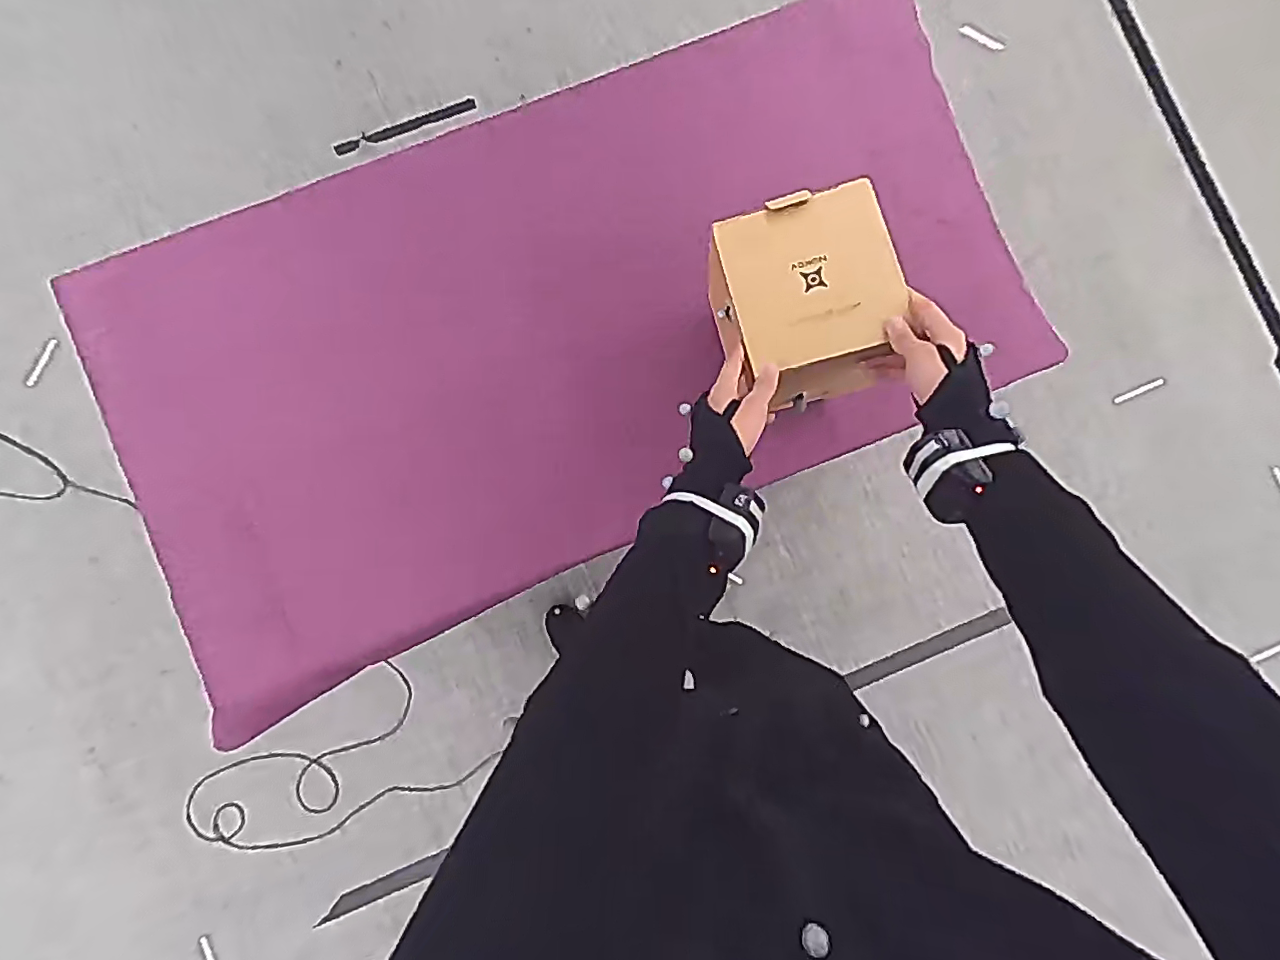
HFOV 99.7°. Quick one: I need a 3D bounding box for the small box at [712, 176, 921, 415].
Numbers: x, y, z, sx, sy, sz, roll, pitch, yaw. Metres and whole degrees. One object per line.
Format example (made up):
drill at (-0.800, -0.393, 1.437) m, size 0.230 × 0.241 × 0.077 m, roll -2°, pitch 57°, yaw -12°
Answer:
small box at (0.179, -0.192, 0.610) m, size 0.168 × 0.176 × 0.179 m, roll -15°, pitch 81°, yaw 5°
